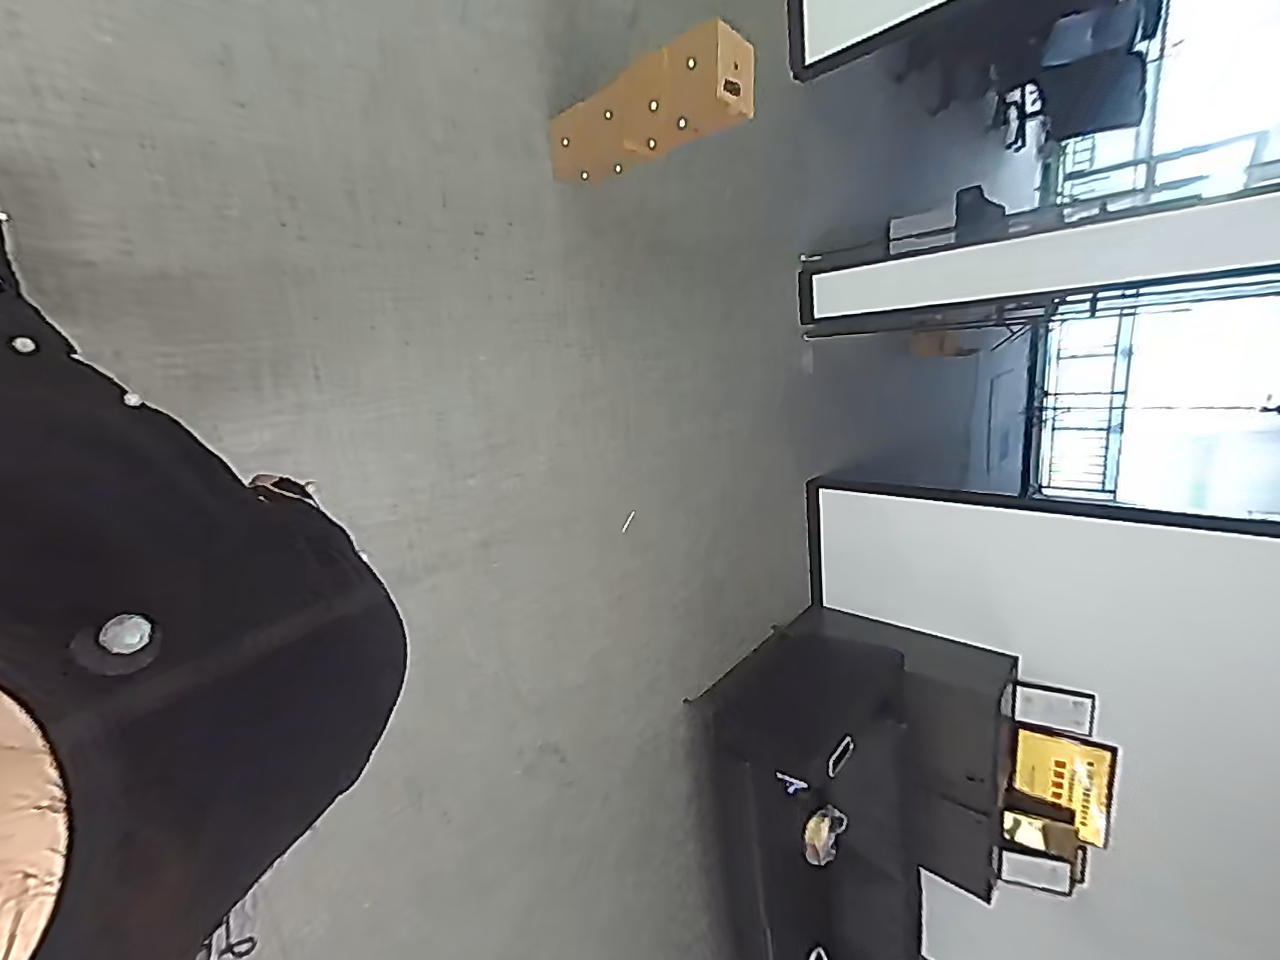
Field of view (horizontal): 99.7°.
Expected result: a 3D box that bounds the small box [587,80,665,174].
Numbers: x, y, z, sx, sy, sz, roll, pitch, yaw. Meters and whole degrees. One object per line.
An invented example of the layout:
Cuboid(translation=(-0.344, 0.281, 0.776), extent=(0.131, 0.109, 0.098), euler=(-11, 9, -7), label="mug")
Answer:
Cuboid(translation=(-0.046, -1.060, 1.638), extent=(0.168, 0.176, 0.179), euler=(-16, 107, -42), label="small box")

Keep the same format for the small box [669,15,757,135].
Cuboid(translation=(0.188, -1.039, 1.410), extent=(0.168, 0.176, 0.179), euler=(-10, 101, -45), label="small box")

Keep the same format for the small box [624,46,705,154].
Cuboid(translation=(0.068, -1.057, 1.522), extent=(0.168, 0.176, 0.179), euler=(-12, 105, -44), label="small box")
